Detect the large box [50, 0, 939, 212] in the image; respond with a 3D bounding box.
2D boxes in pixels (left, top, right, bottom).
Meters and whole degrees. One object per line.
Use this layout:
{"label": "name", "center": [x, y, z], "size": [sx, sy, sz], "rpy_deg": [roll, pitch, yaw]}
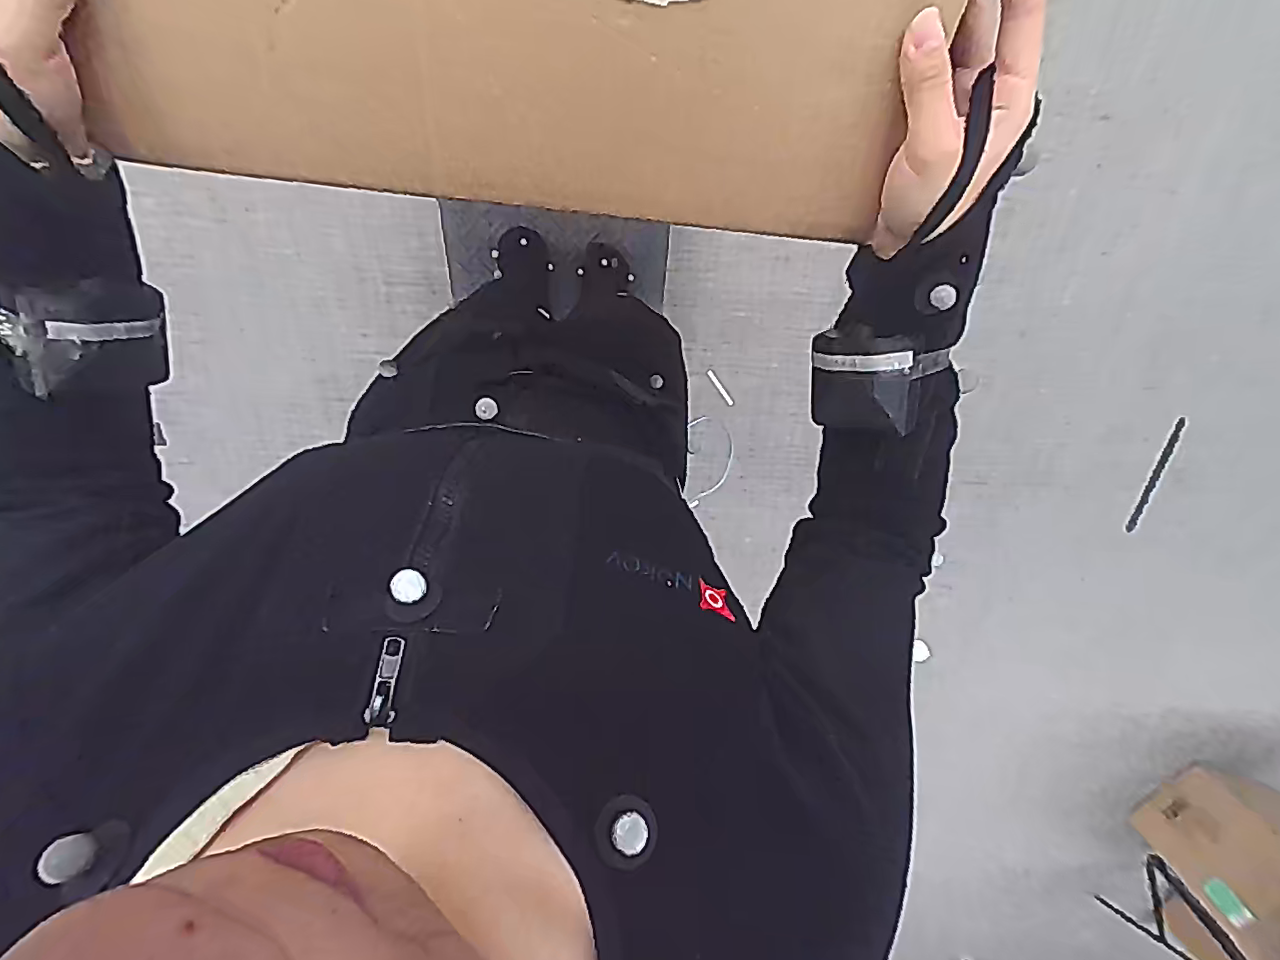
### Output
{"label": "large box", "center": [-0.059, -0.374, 0.305], "size": [0.408, 0.320, 0.320], "rpy_deg": [3, 132, -6]}
